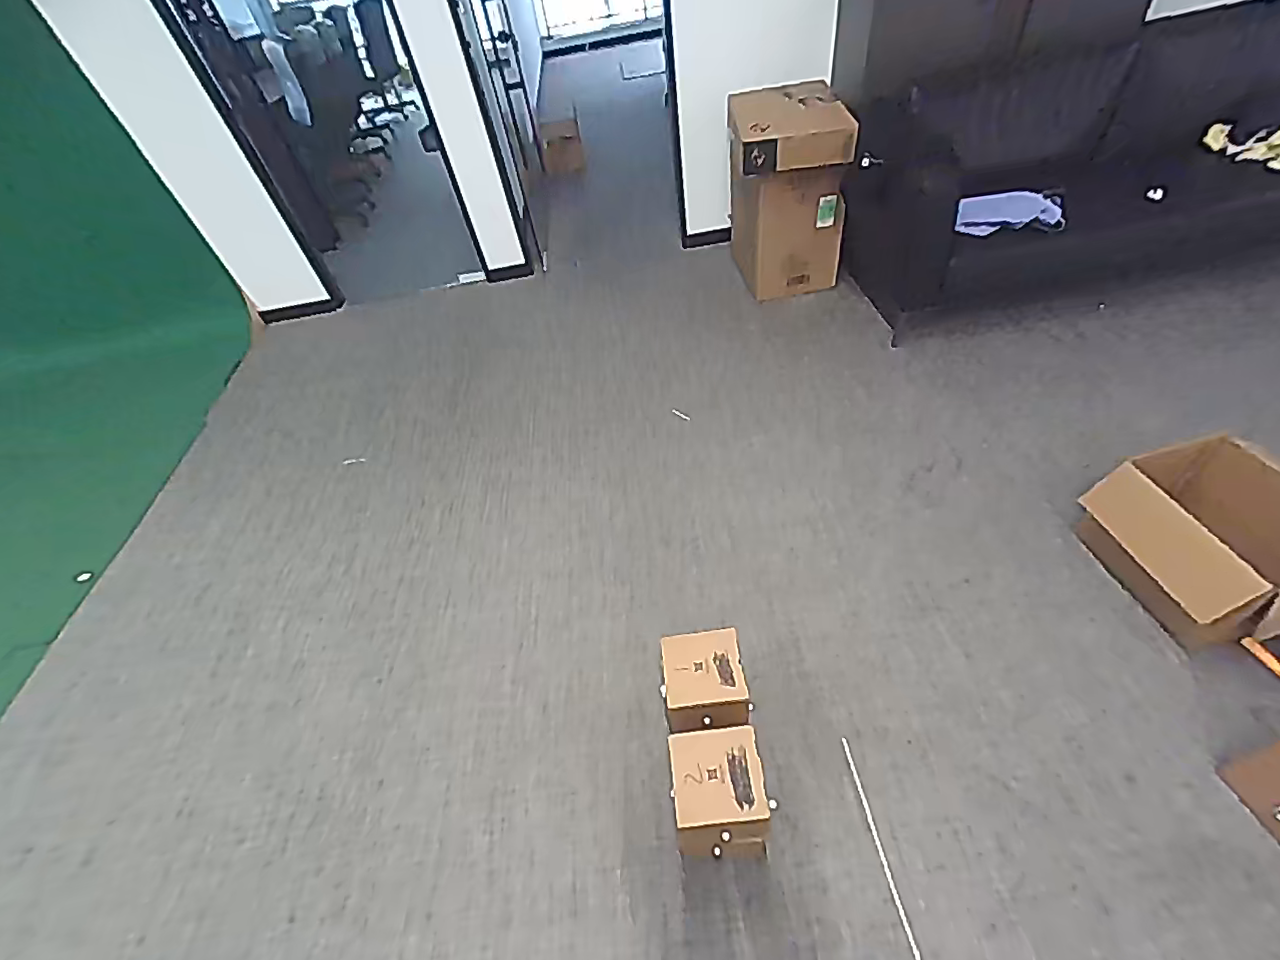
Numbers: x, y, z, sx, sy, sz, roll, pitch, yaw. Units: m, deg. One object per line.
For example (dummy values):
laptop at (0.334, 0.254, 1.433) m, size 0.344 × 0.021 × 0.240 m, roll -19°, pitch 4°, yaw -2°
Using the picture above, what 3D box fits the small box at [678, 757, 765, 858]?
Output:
small box at (0.181, 0.736, 1.209) m, size 0.179 × 0.176 × 0.168 m, roll -5°, pitch 47°, yaw 6°
